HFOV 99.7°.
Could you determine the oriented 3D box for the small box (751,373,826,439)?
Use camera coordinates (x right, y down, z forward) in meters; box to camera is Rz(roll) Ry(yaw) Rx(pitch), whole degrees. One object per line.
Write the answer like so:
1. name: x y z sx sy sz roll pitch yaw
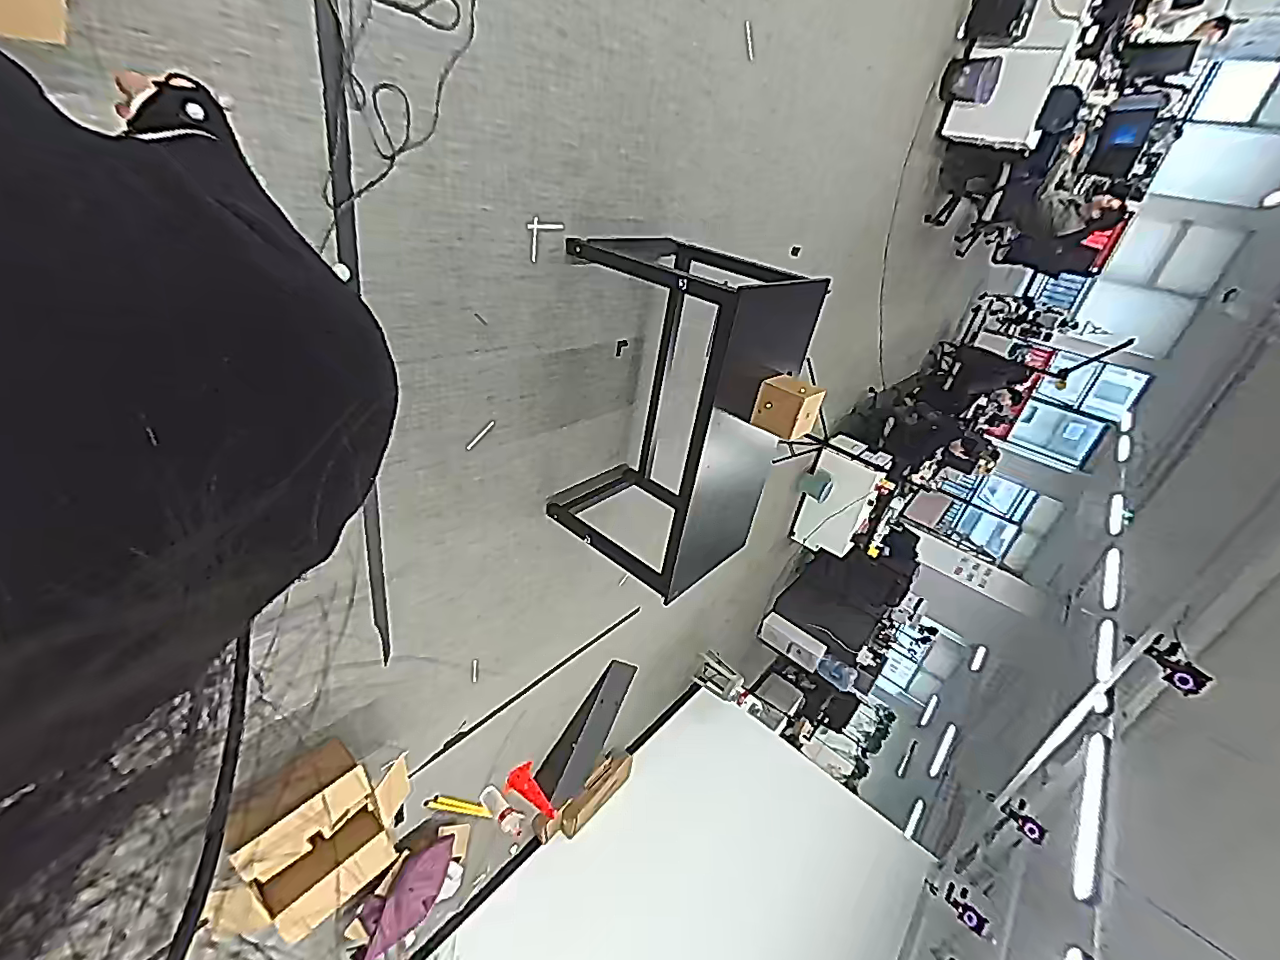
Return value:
1. small box: 0.521 -0.267 1.910 0.179 0.176 0.168 -24 134 -45
